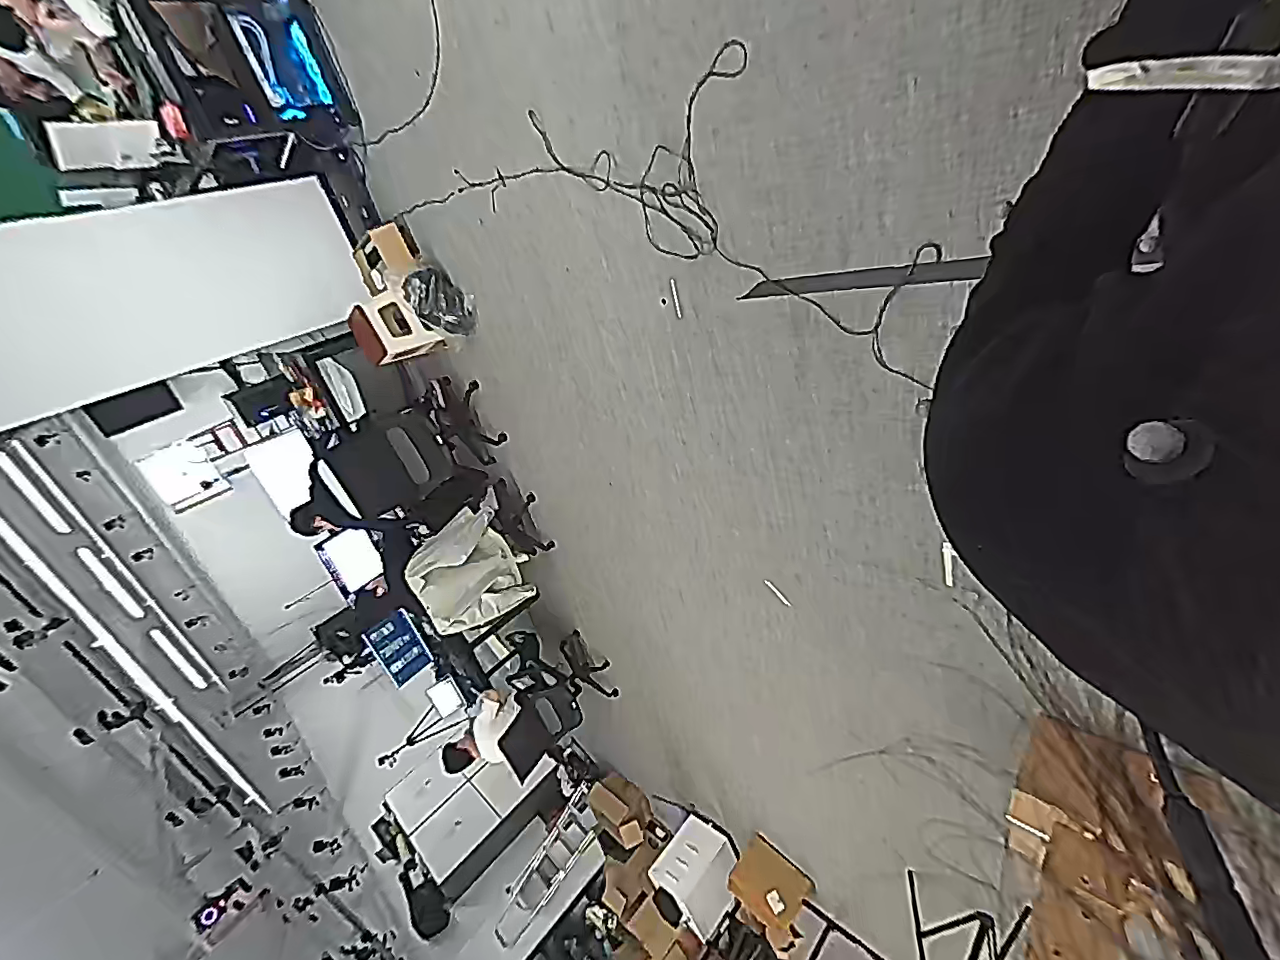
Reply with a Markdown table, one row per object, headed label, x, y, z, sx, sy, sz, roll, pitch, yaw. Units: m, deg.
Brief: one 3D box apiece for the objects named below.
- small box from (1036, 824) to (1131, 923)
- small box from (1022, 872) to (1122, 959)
| label | x | y | z | sx | sy | sz | roll | pitch | yaw |
| --- | --- | --- | --- | --- | --- | --- | --- | --- | --- |
| small box | 1.210 | 1.096 | 1.477 | 0.179 | 0.176 | 0.168 | 12 | 127 | 46 |
| small box | 1.101 | 1.166 | 1.380 | 0.168 | 0.176 | 0.179 | 12 | 126 | 45 |
